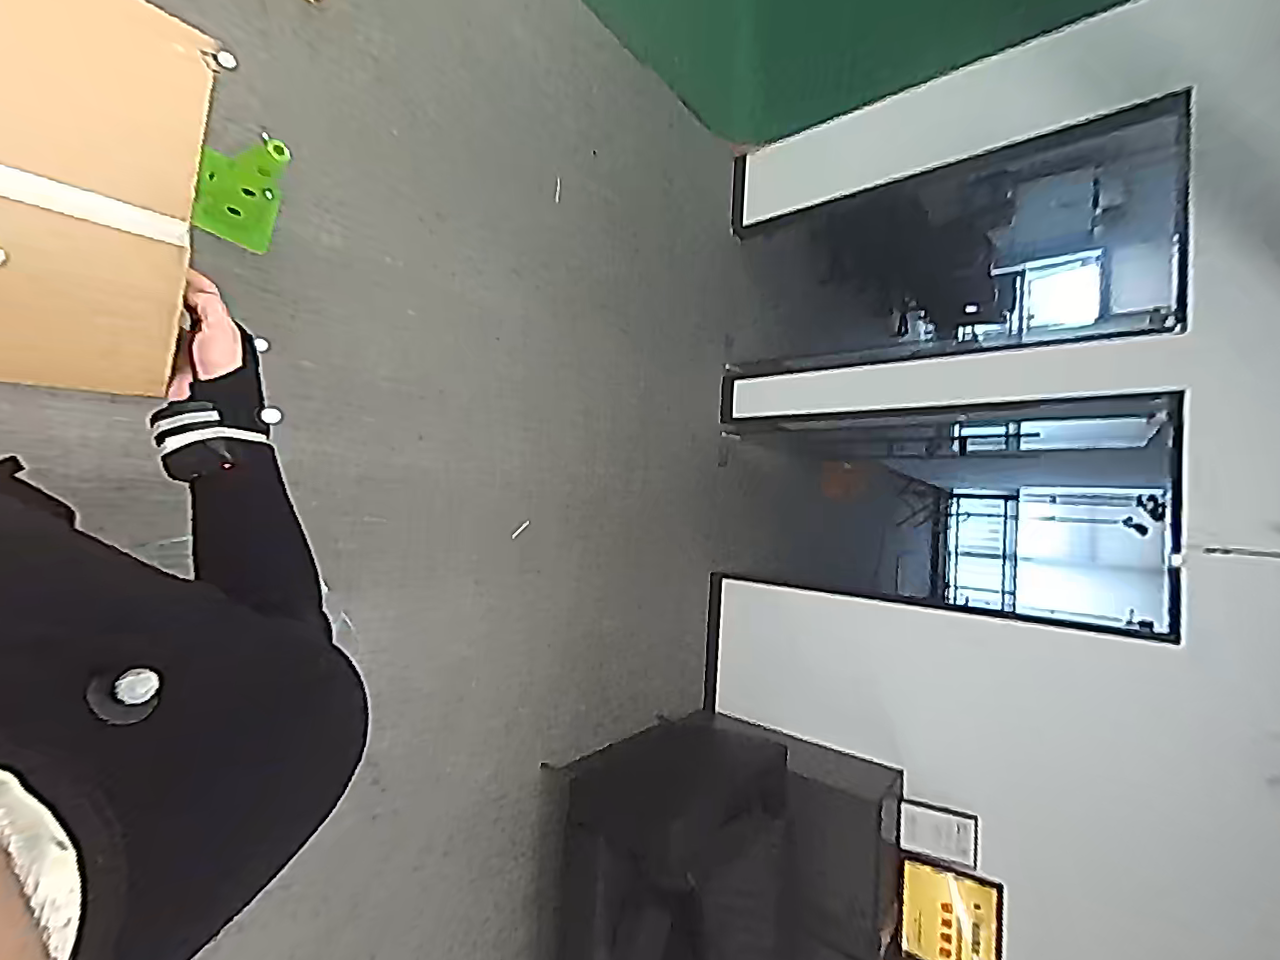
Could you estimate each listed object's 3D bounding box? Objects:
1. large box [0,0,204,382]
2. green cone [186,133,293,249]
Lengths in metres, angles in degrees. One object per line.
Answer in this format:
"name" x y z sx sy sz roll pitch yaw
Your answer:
"large box" -0.635 -0.288 0.403 0.408 0.320 0.320 -1 117 -54
"green cone" -0.906 -0.719 1.272 0.200 0.368 0.202 17 77 -51
